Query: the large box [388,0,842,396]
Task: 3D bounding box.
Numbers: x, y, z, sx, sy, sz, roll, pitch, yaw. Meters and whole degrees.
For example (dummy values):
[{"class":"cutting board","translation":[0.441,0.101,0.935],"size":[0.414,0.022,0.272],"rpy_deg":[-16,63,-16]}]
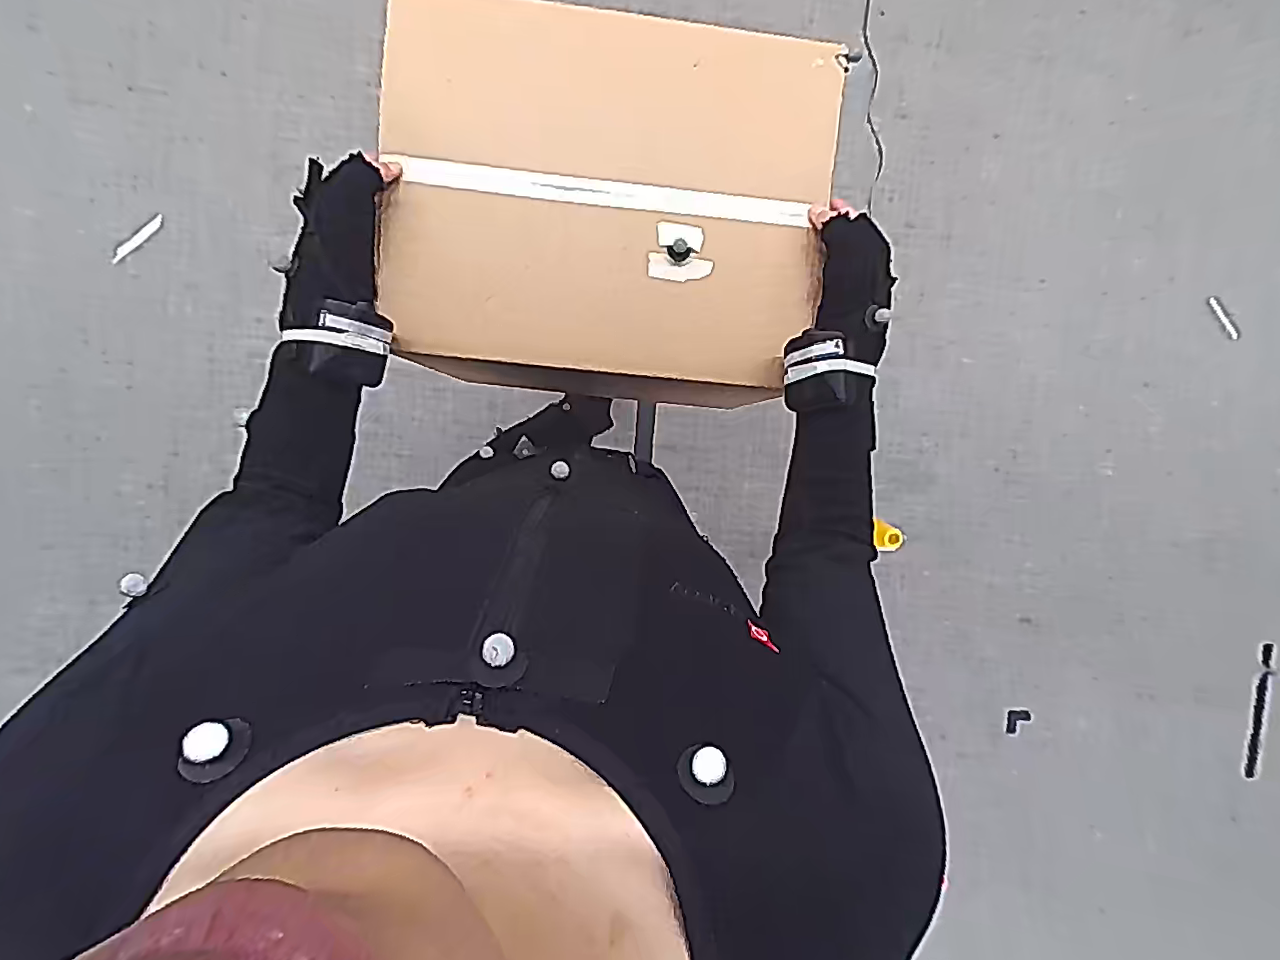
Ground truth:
[{"class":"large box","translation":[-0.034,-0.279,0.640],"size":[0.408,0.320,0.320],"rpy_deg":[5,95,-5]}]
